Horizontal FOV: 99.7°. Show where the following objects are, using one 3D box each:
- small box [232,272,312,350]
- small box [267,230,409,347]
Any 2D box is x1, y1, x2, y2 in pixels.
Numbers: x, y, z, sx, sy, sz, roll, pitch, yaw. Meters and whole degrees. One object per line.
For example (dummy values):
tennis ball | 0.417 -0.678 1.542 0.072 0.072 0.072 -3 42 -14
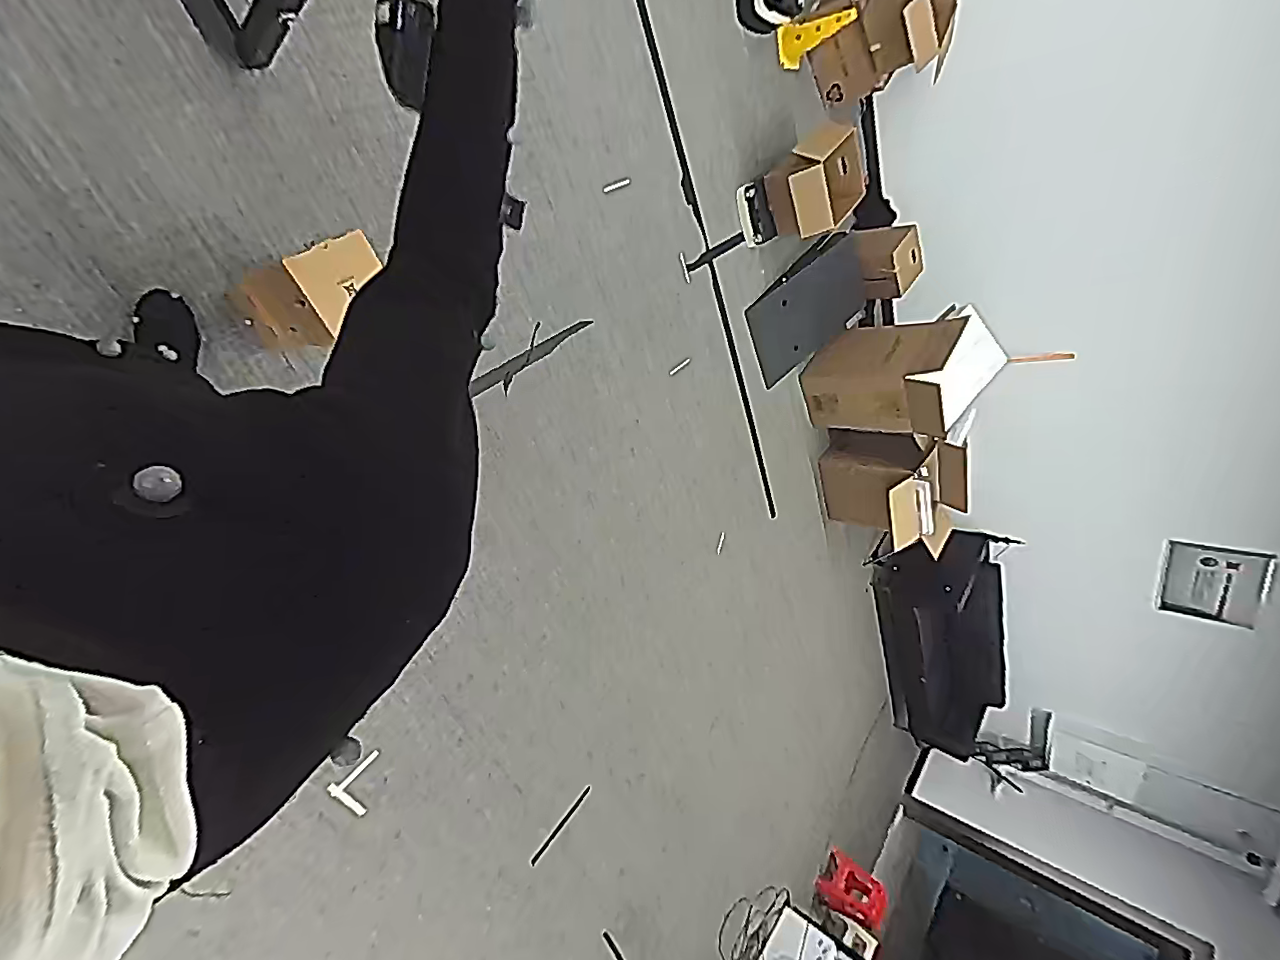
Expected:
small box | -0.861 -0.435 1.337 0.179 0.176 0.168 -43 125 -32
small box | -0.623 -0.389 1.117 0.168 0.176 0.179 -45 127 -31
